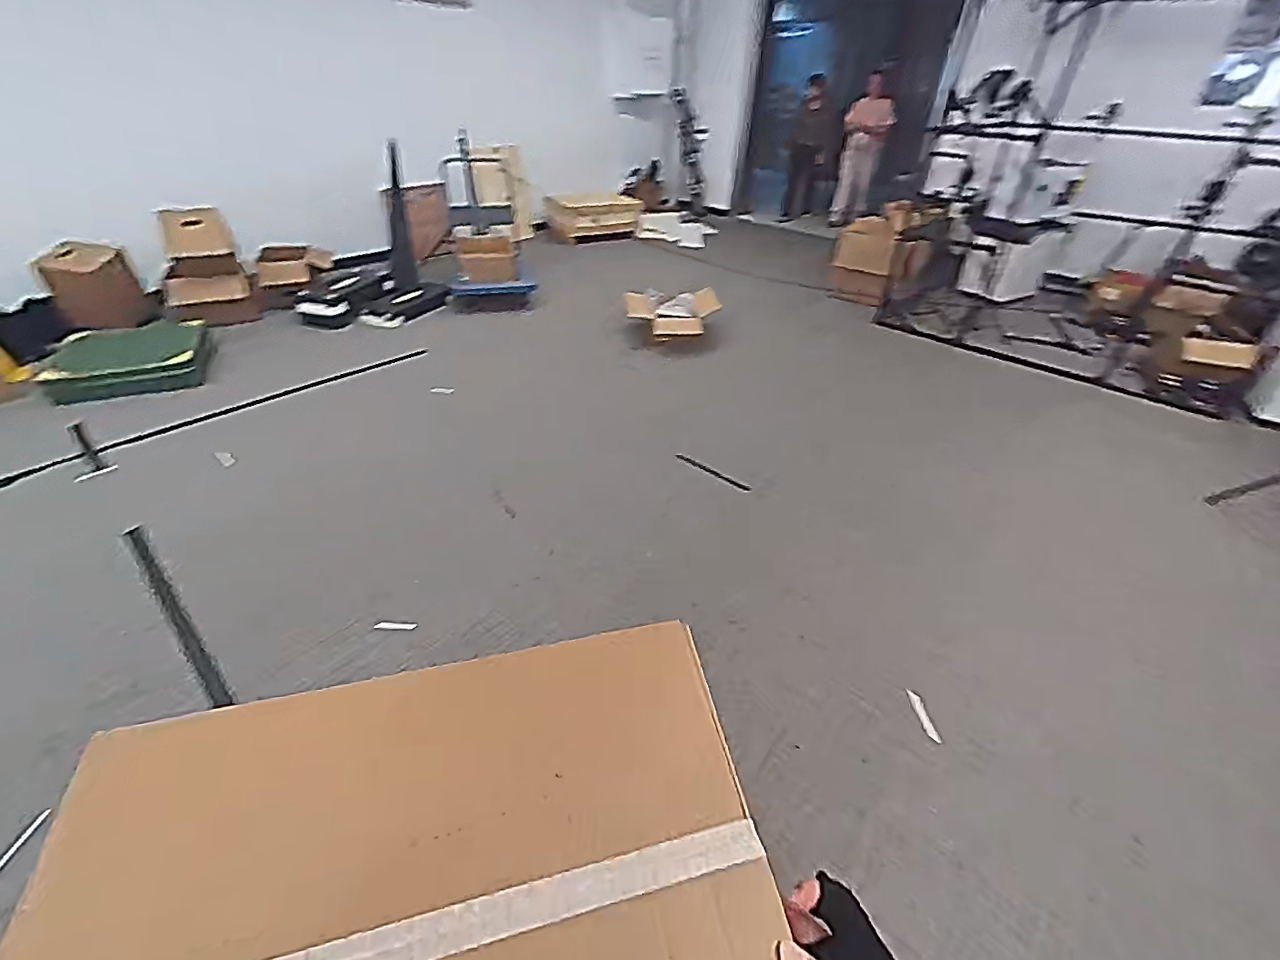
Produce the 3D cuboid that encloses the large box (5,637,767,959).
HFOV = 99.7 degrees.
[{"bbox_3d":[-0.140,0.367,0.405,0.408,0.320,0.320,-9,47,-13],"label":"large box"}]
